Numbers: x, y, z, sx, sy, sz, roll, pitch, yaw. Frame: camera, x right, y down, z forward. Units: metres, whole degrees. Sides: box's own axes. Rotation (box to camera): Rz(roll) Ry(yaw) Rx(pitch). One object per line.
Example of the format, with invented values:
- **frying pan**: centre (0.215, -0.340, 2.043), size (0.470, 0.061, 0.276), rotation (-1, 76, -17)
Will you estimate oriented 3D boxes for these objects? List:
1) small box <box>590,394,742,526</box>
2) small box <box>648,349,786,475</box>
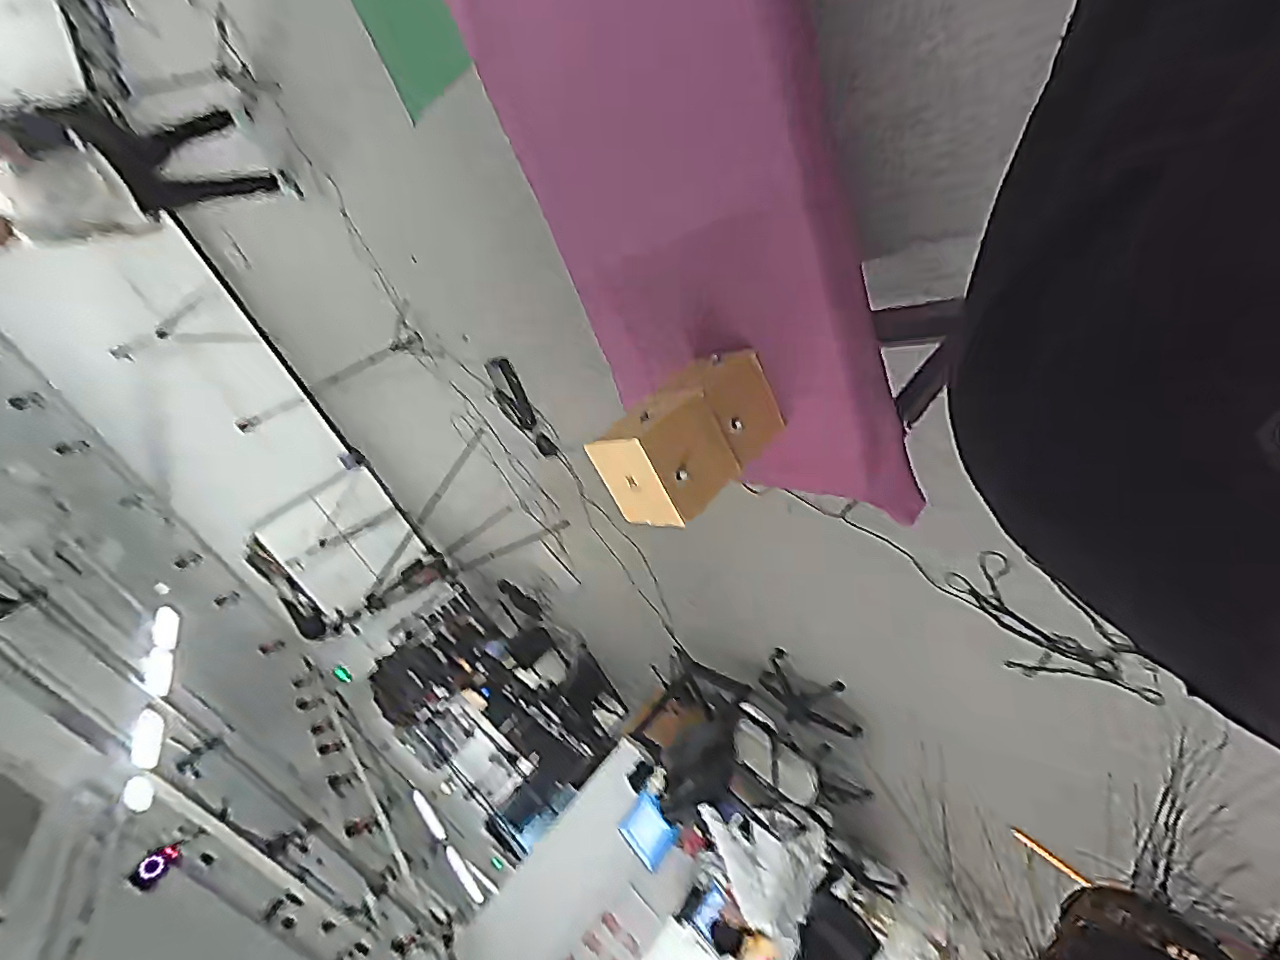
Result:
- **small box**: centre (0.049, -0.040, 0.968), size (0.168, 0.176, 0.179), rotation (-1, 124, 53)
- **small box**: centre (0.155, -0.129, 1.051), size (0.168, 0.176, 0.179), rotation (2, 126, 52)
